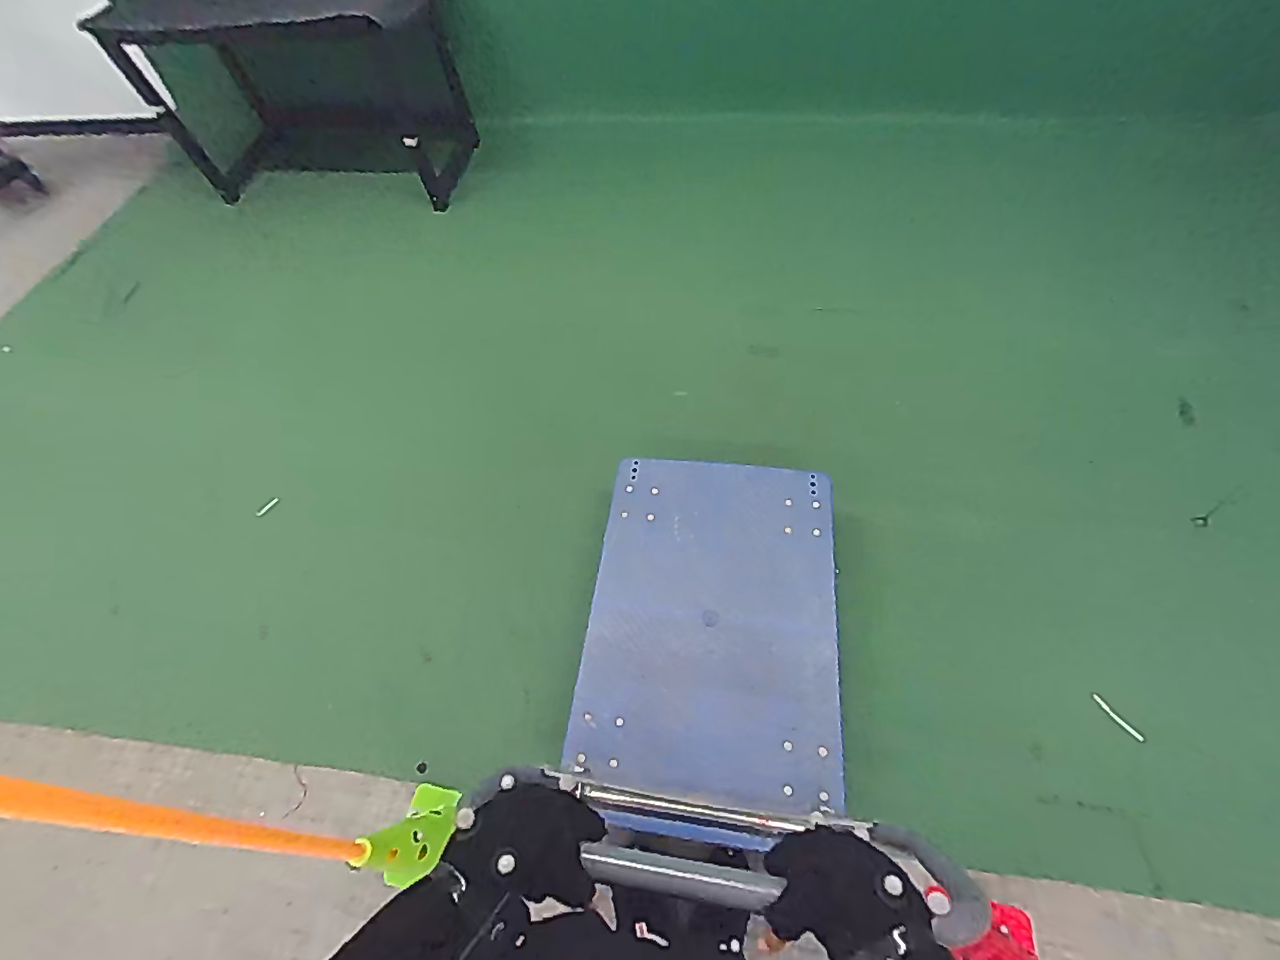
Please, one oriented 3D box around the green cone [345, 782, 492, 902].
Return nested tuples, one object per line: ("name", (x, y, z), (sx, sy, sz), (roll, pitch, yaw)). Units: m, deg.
("green cone", (-0.471, 0.727, 1.087), (0.202, 0.368, 0.200), (8, 59, 11))
